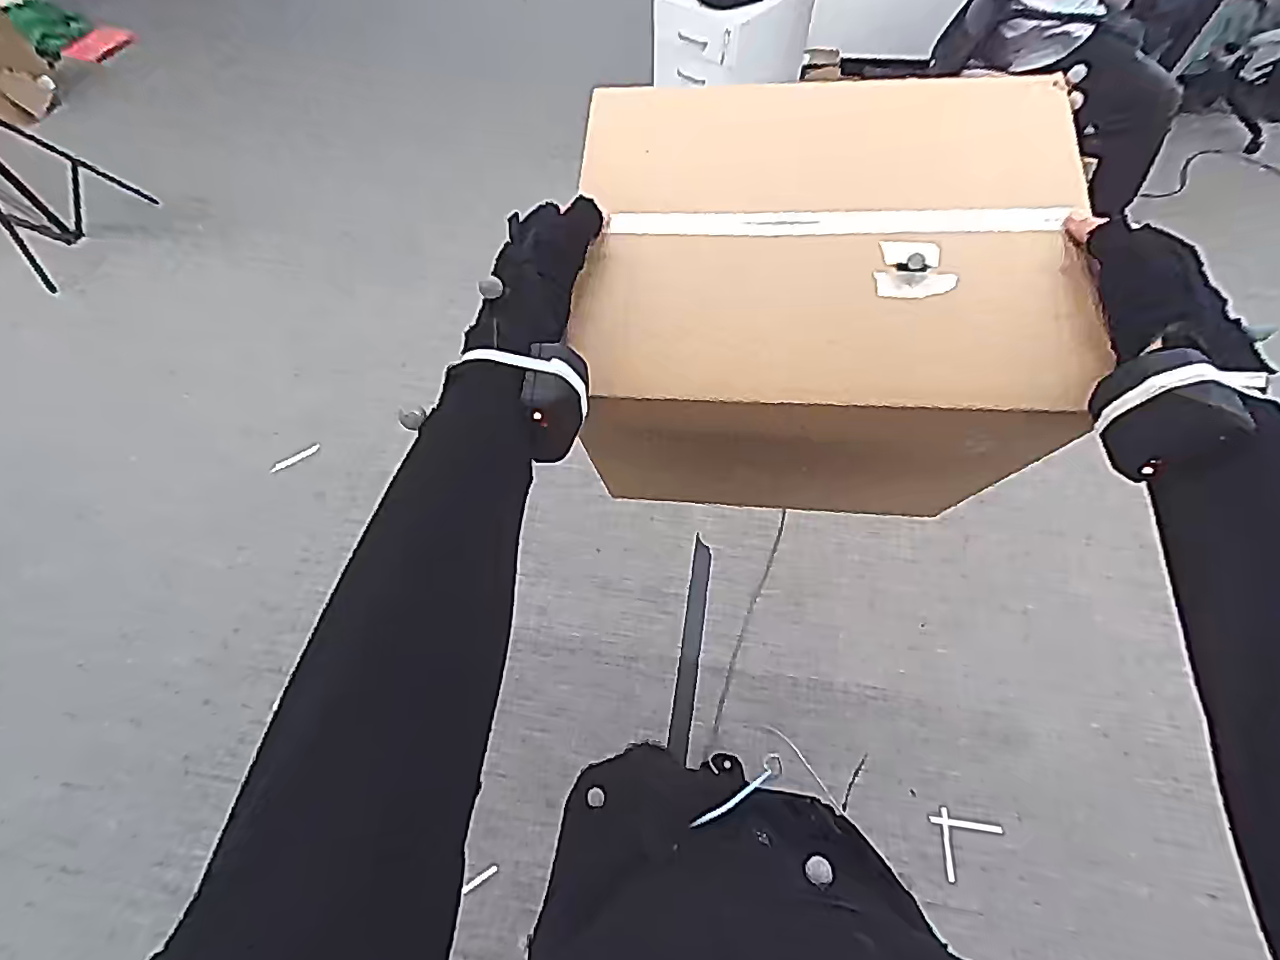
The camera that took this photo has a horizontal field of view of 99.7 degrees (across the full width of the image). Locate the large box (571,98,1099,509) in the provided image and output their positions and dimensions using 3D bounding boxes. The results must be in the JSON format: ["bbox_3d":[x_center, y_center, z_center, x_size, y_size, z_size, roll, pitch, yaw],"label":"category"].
[{"bbox_3d":[0.162,-0.157,0.598,0.408,0.320,0.320,3,74,7],"label":"large box"}]
